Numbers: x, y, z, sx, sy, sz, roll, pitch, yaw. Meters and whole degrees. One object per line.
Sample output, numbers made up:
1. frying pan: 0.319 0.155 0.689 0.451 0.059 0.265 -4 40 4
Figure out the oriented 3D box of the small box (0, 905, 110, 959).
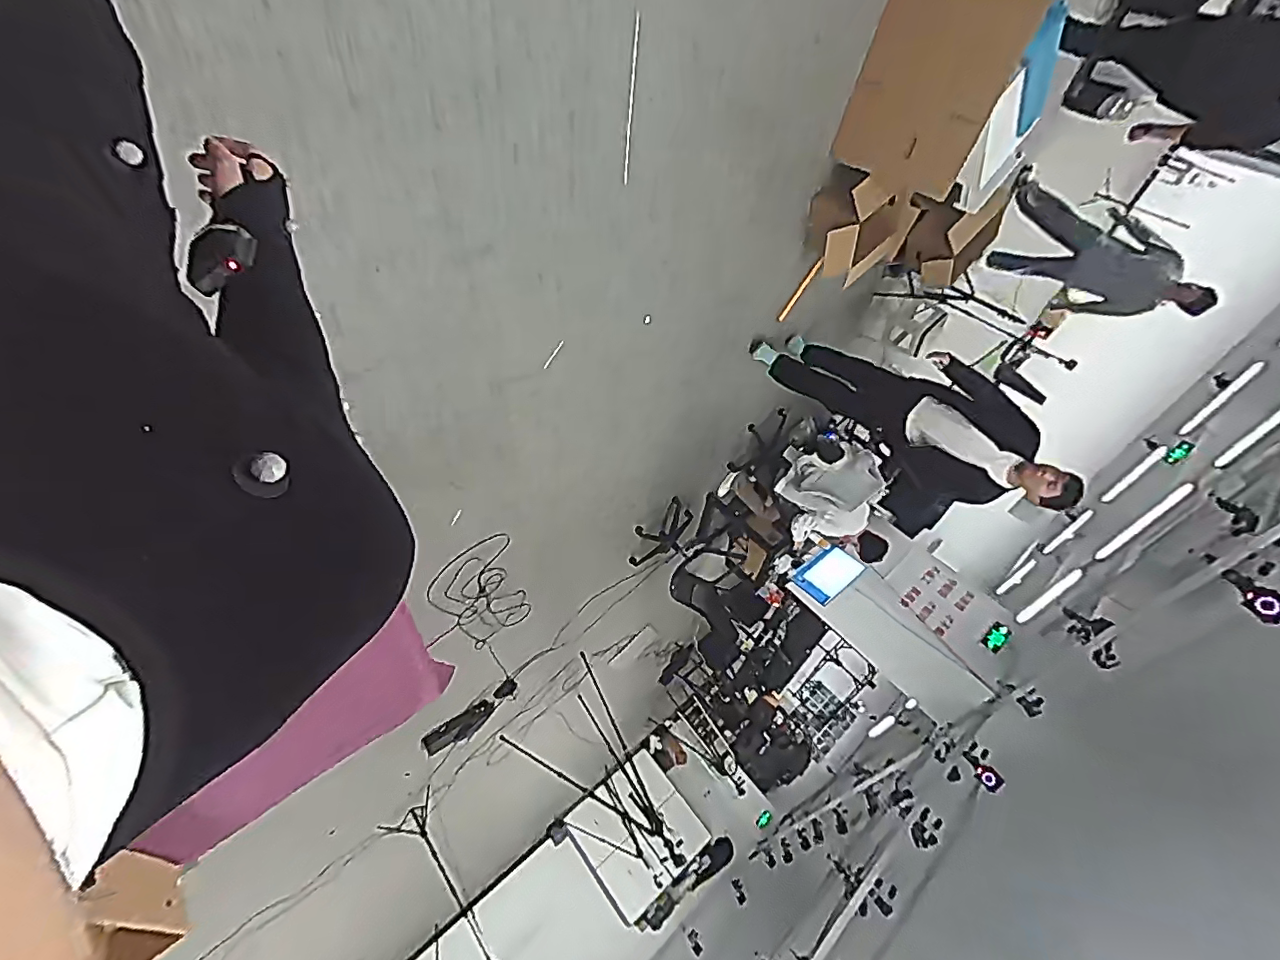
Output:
1. small box: -1.329 1.087 1.192 0.168 0.176 0.179 -30 148 -33
